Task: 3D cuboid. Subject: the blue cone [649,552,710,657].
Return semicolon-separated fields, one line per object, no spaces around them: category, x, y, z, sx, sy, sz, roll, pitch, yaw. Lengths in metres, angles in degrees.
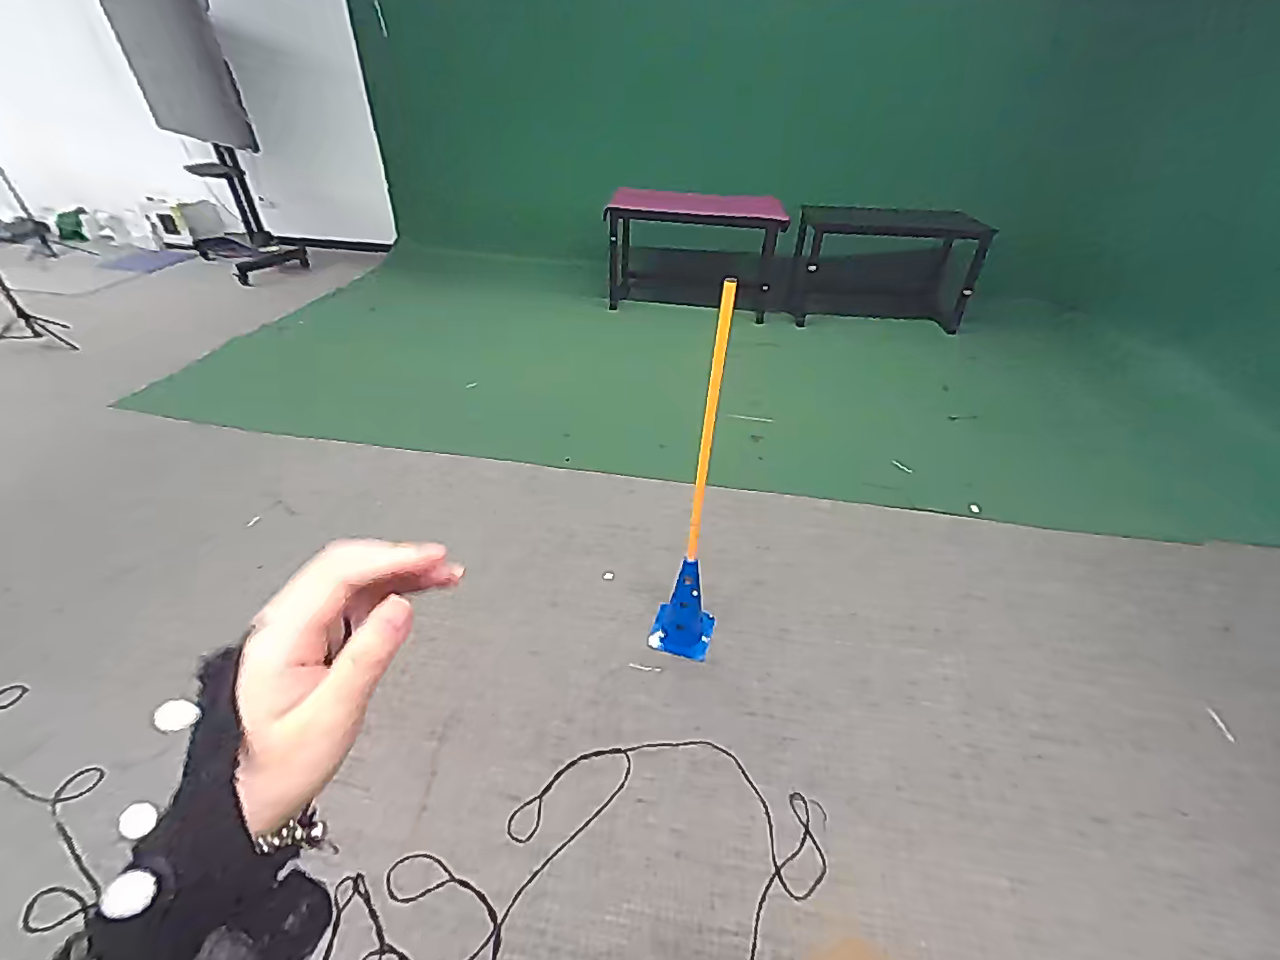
blue cone;0.145;0.388;1.769;0.193;0.380;0.192;13;38;13
